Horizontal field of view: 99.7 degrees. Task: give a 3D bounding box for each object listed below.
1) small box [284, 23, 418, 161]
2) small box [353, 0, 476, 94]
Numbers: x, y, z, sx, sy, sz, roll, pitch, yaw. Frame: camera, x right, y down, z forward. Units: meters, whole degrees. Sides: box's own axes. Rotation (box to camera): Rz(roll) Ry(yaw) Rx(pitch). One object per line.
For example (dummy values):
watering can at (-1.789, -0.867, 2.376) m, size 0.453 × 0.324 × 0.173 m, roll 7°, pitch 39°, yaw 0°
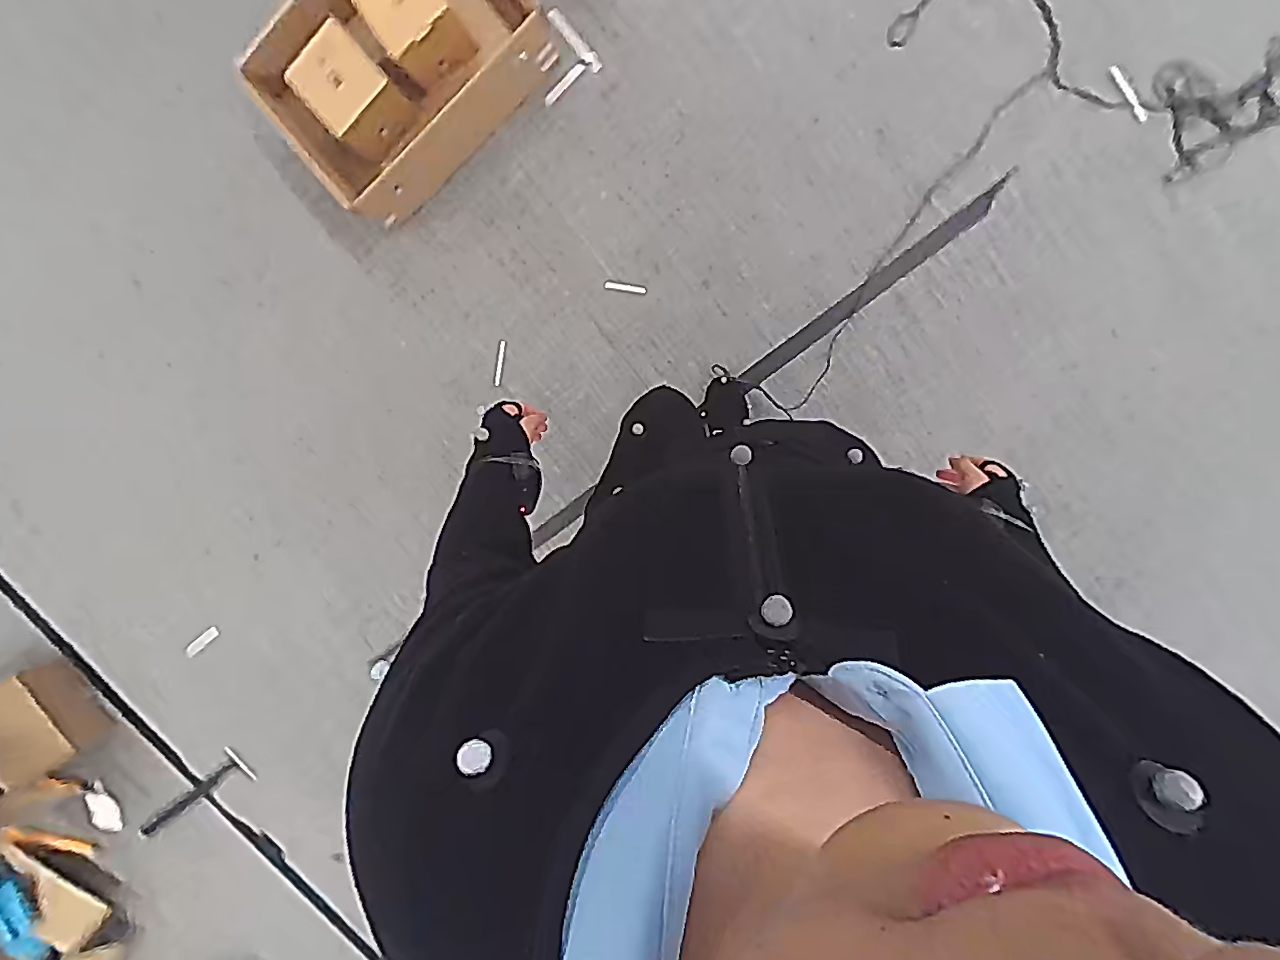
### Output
small box at (-0.659, -0.883, 1.258) m, size 0.168 × 0.176 × 0.179 m, roll -41°, pitch 95°, yaw 10°
small box at (-0.506, -1.032, 1.217) m, size 0.168 × 0.176 × 0.179 m, roll -33°, pitch 97°, yaw 11°
